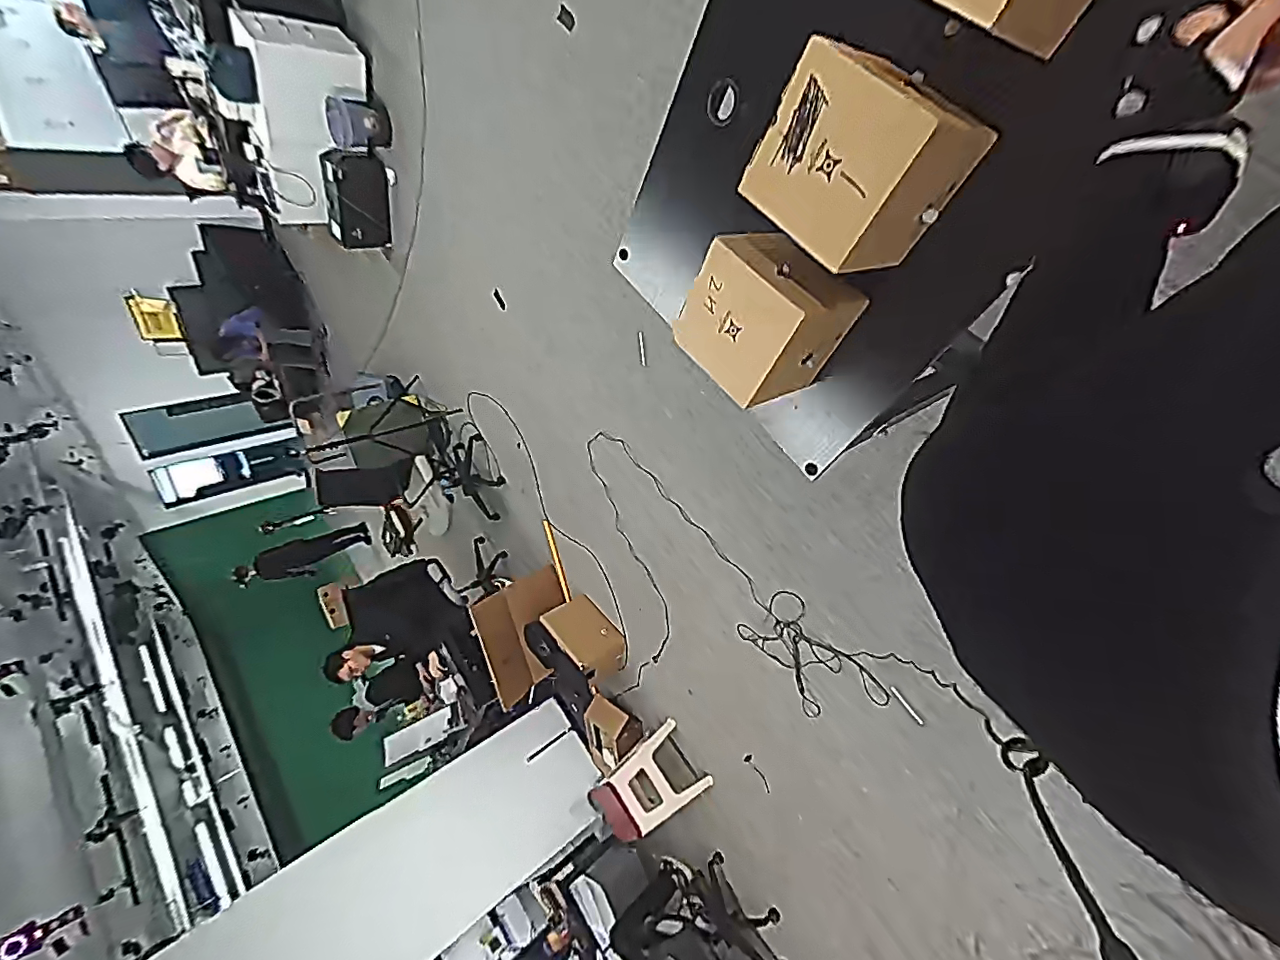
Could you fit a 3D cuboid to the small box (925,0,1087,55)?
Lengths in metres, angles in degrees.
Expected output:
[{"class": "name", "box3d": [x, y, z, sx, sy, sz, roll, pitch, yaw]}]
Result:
[{"class": "small box", "box3d": [0.335, -0.515, 0.471, 0.168, 0.176, 0.179, 52, 142, 20]}]
